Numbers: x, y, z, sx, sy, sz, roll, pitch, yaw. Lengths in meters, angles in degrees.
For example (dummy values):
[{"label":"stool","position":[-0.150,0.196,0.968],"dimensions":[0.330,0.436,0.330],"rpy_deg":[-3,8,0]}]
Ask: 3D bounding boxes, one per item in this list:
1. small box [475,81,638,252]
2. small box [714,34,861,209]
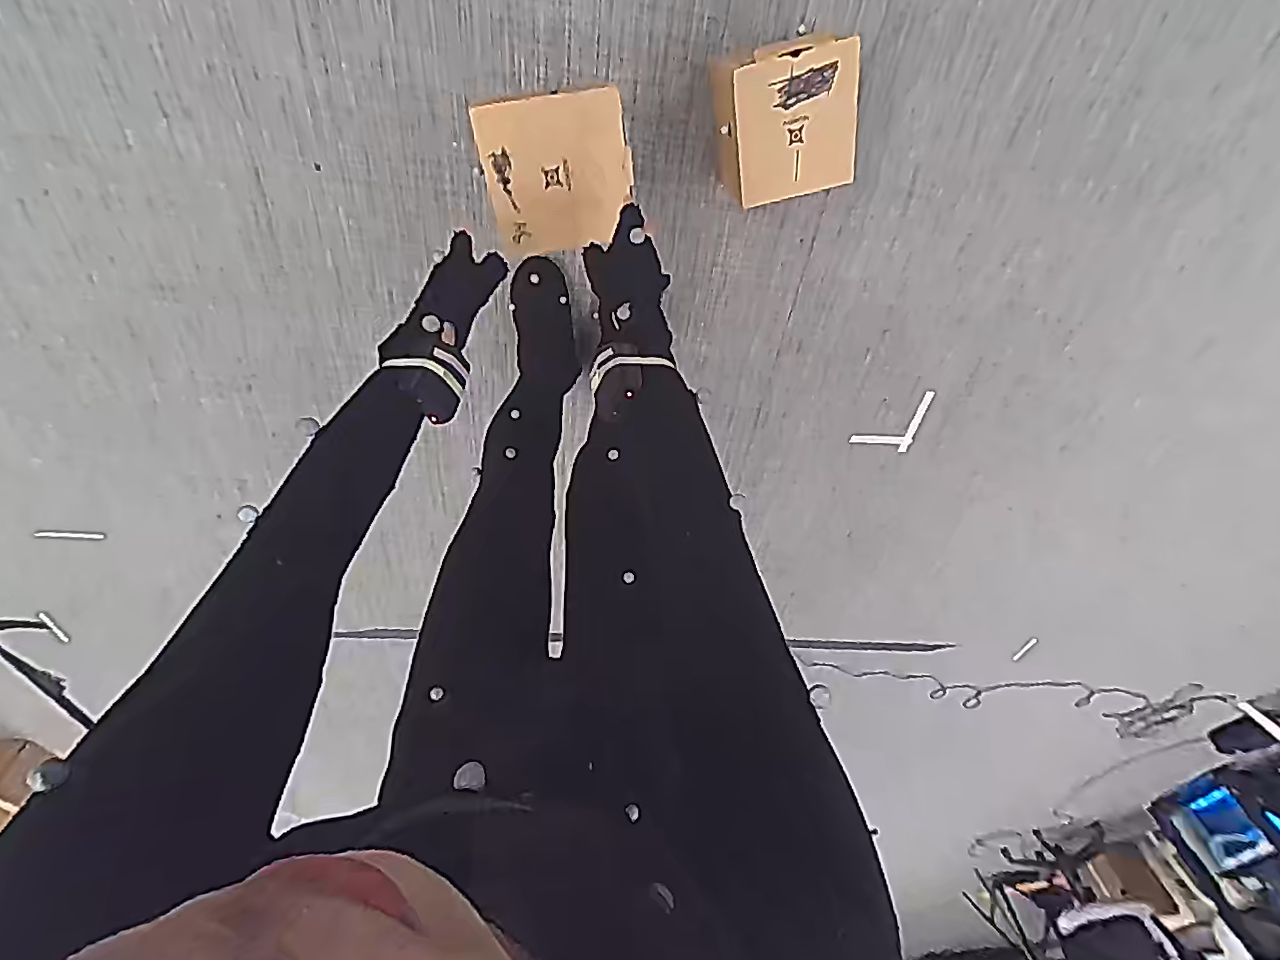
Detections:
[{"label":"small box","position":[-0.111,-0.423,0.723],"dimensions":[0.179,0.176,0.168],"rpy_deg":[-13,128,-5]},{"label":"small box","position":[0.209,-0.529,0.798],"dimensions":[0.168,0.176,0.179],"rpy_deg":[-12,130,5]}]
